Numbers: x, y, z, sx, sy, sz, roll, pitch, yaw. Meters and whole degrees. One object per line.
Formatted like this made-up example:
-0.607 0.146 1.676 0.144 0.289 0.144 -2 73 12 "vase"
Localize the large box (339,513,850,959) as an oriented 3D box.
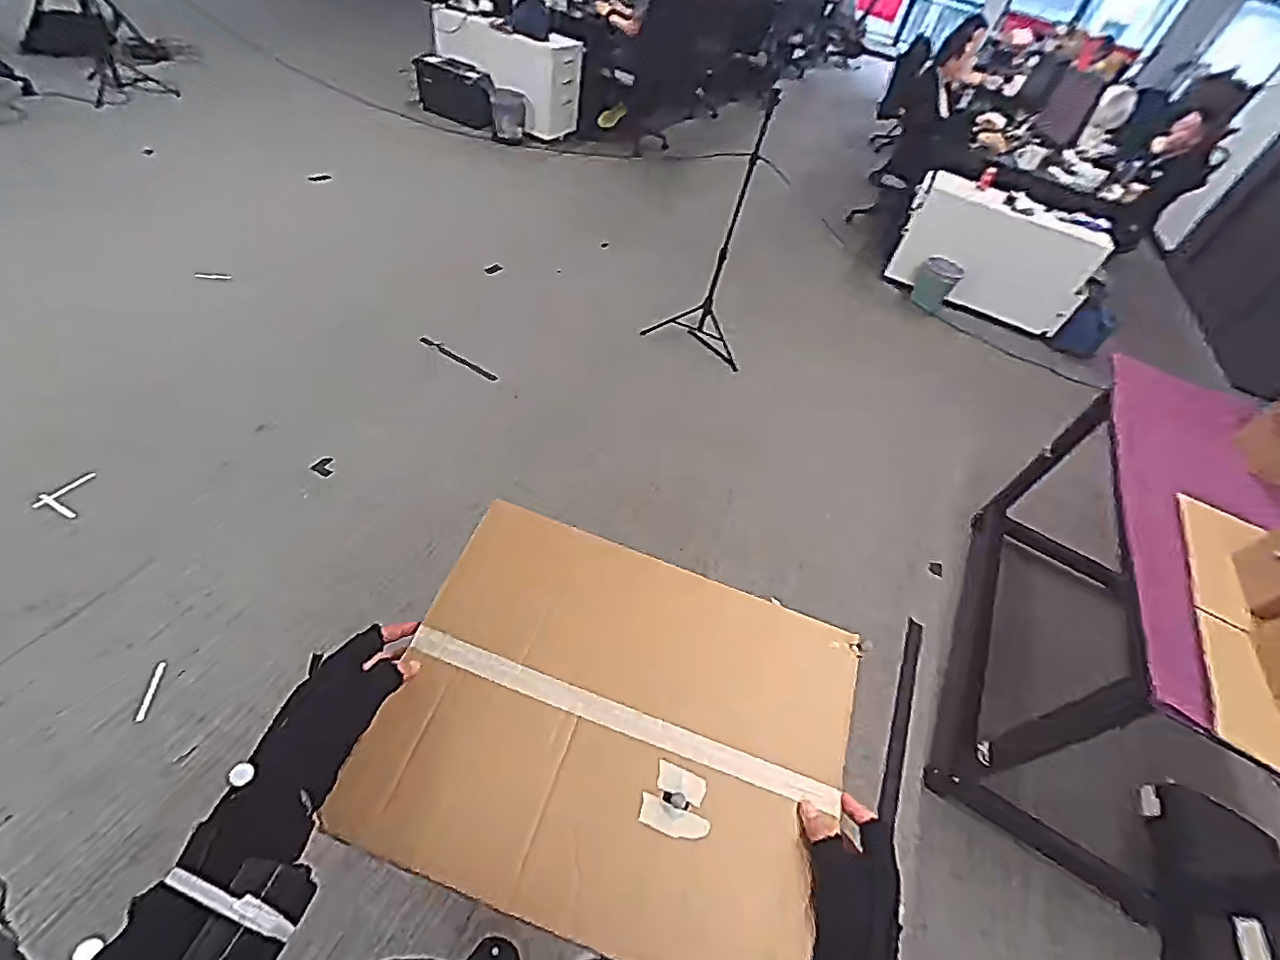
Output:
-0.033 0.295 0.627 0.408 0.320 0.320 21 60 3 "large box"
